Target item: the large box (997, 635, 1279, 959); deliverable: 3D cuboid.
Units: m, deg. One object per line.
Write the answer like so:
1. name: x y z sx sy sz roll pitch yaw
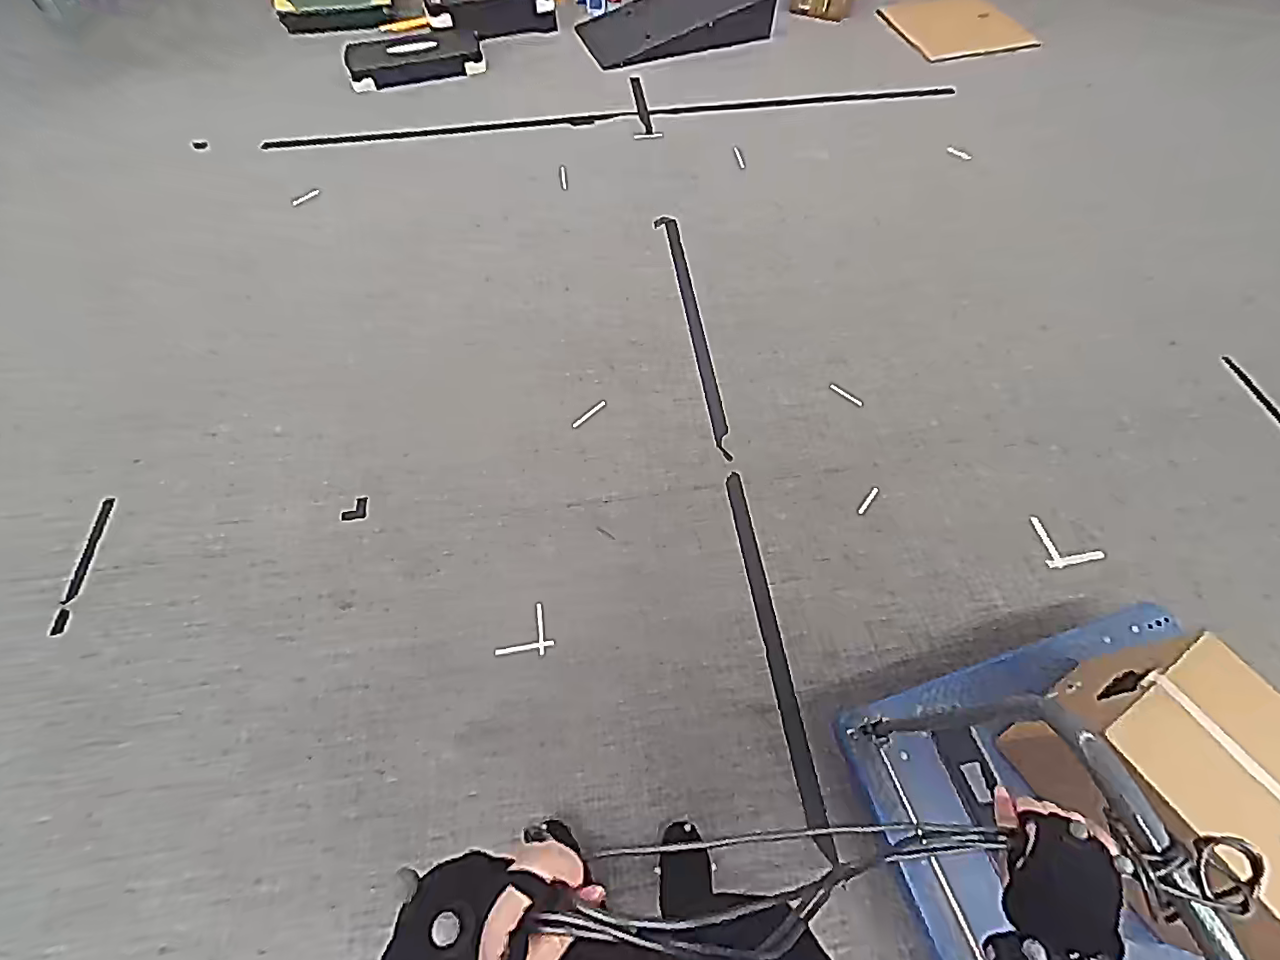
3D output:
1. large box: 0.978 0.557 0.969 0.320 0.320 0.408 -30 66 -16
